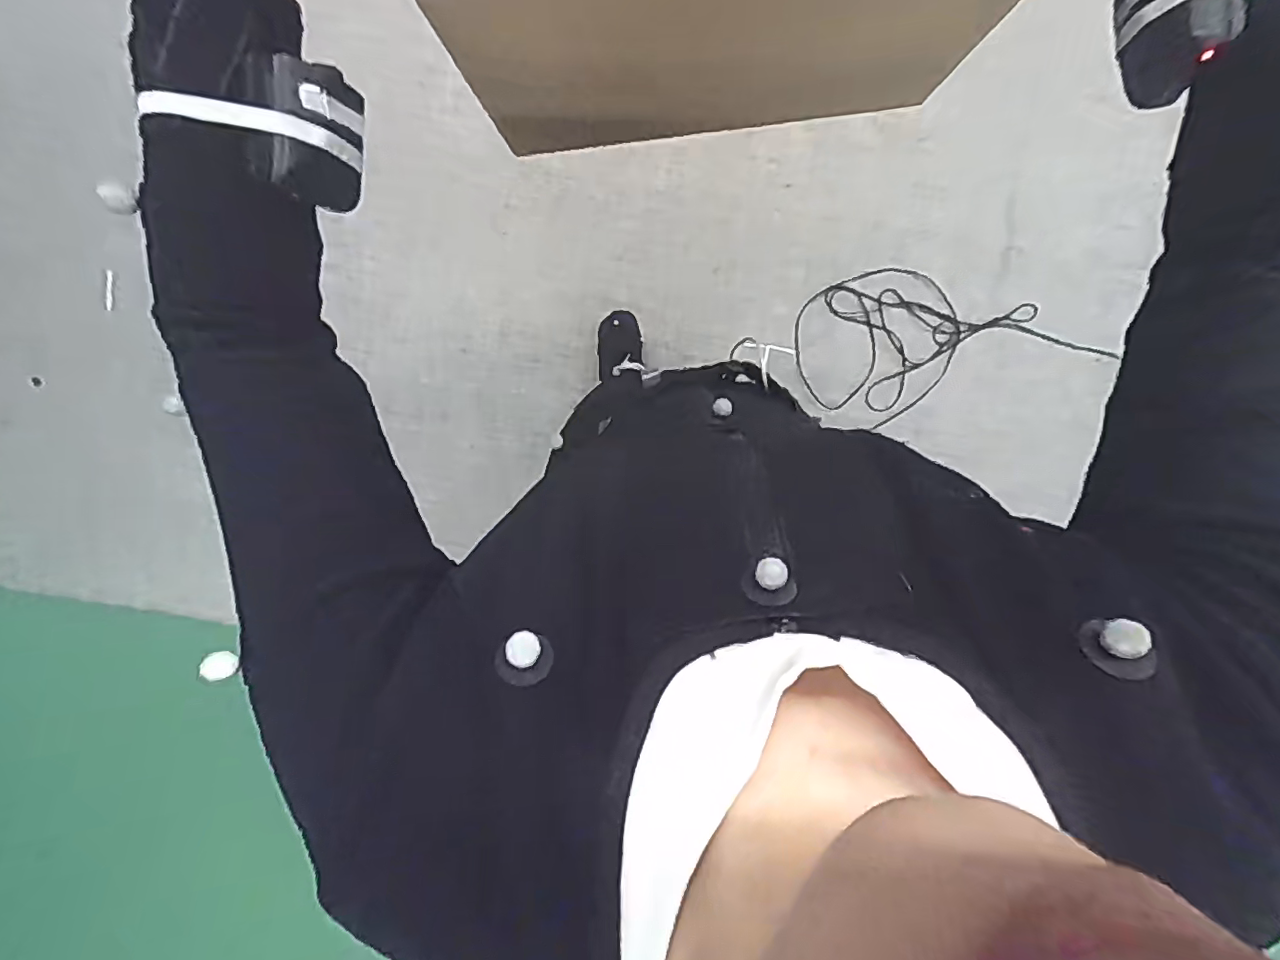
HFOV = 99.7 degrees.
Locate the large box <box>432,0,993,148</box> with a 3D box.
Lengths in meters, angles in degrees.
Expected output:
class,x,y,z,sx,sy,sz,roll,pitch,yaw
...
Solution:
class,x,y,z,sx,sy,sz,roll,pitch,yaw
large box,0.049,-0.473,0.360,0.408,0.320,0.320,-6,101,2
